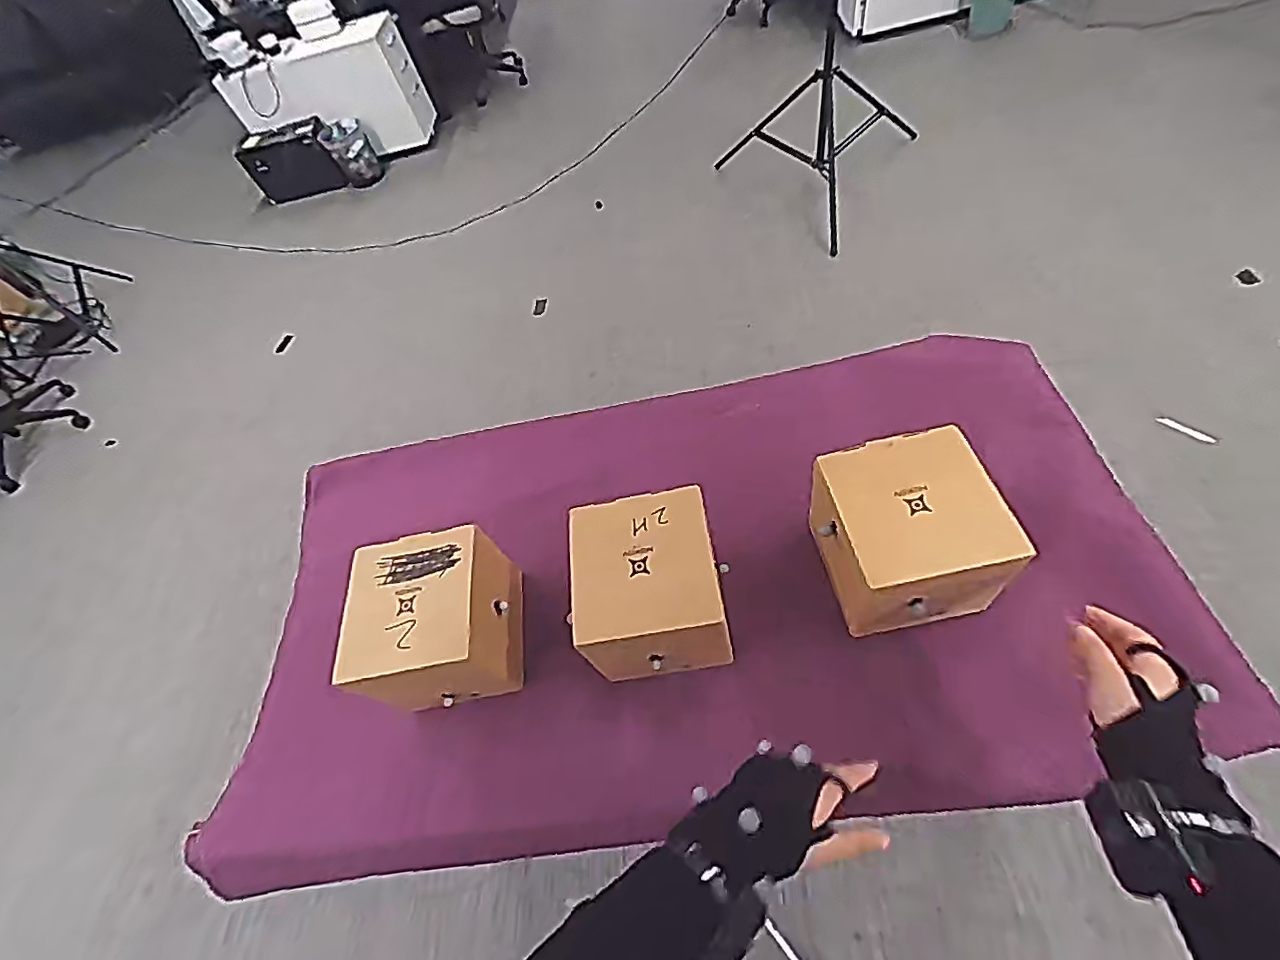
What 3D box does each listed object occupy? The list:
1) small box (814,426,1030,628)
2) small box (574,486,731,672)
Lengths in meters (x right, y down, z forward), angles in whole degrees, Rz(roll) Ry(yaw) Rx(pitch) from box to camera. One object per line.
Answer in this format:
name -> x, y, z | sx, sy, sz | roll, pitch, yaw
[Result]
small box -> 0.320, 0.068, 0.659 | 0.168, 0.176, 0.179 | -14, 54, 6
small box -> 0.019, 0.134, 0.687 | 0.168, 0.176, 0.179 | -10, 55, 6
